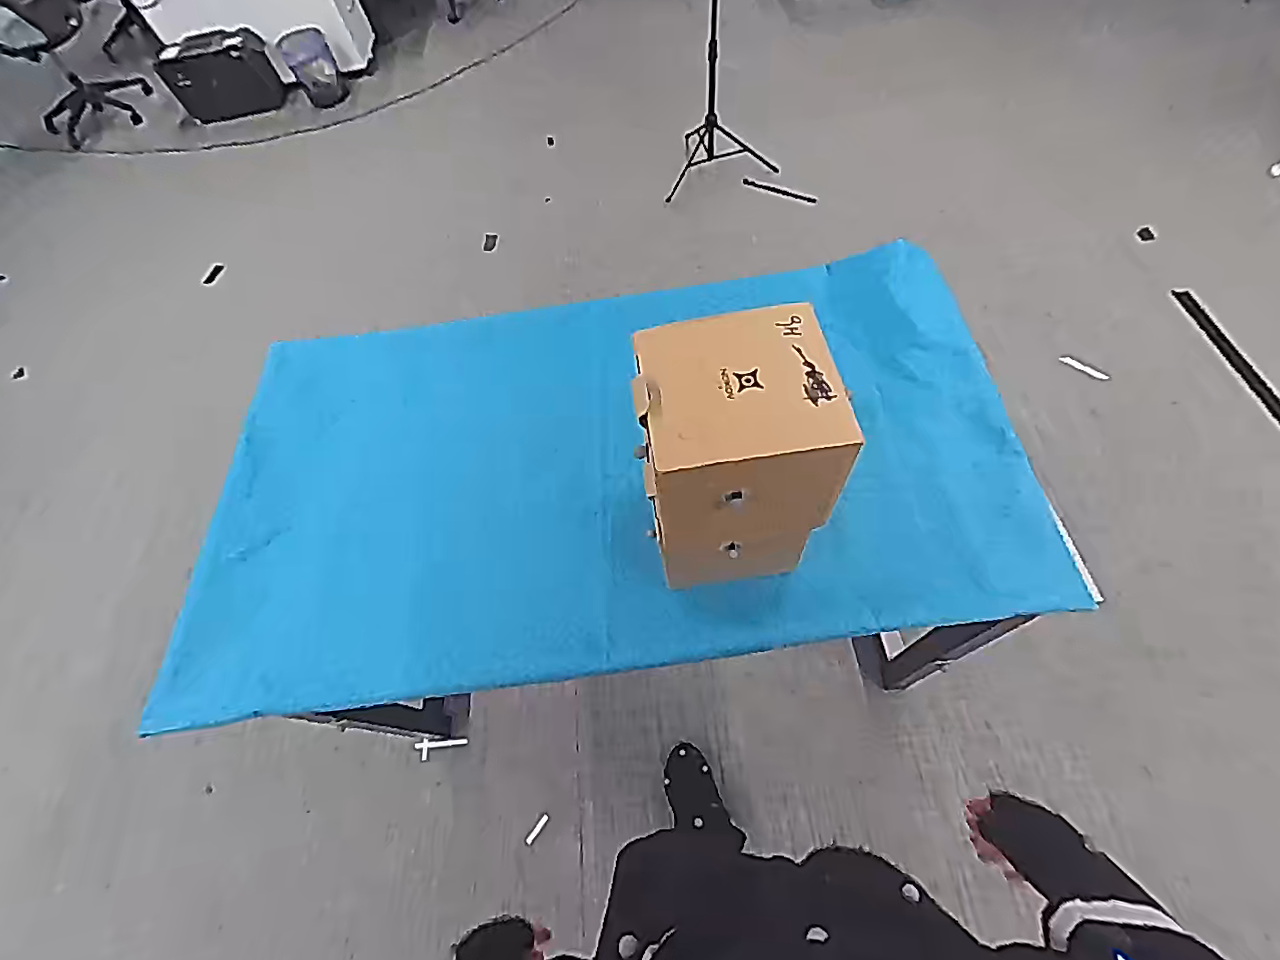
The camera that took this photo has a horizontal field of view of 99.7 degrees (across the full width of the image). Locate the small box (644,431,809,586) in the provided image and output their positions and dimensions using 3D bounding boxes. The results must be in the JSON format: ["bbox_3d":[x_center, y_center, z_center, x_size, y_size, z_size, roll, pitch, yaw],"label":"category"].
[{"bbox_3d":[0.108,0.028,0.696,0.179,0.176,0.168,-8,61,4],"label":"small box"}]

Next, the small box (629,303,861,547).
[{"bbox_3d":[0.096,-0.046,0.551,0.179,0.176,0.168,-12,60,1],"label":"small box"}]
